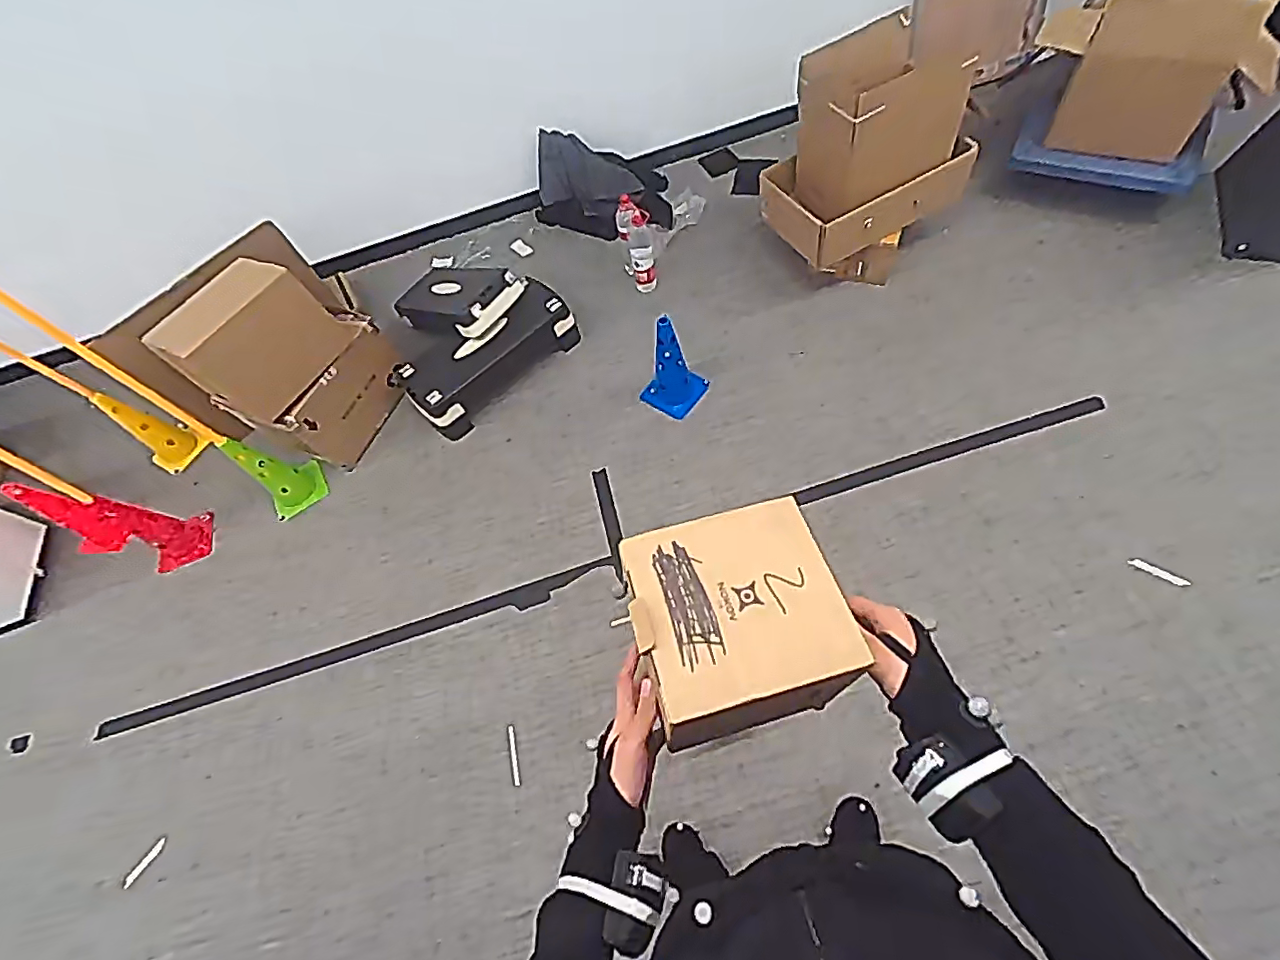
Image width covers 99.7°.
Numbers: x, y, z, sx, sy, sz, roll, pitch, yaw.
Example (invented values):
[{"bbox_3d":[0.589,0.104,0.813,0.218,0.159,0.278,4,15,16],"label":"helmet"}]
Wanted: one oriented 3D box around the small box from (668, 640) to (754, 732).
[{"bbox_3d":[0.187,0.541,1.406,0.168,0.176,0.179,-21,60,-1],"label":"small box"}]
